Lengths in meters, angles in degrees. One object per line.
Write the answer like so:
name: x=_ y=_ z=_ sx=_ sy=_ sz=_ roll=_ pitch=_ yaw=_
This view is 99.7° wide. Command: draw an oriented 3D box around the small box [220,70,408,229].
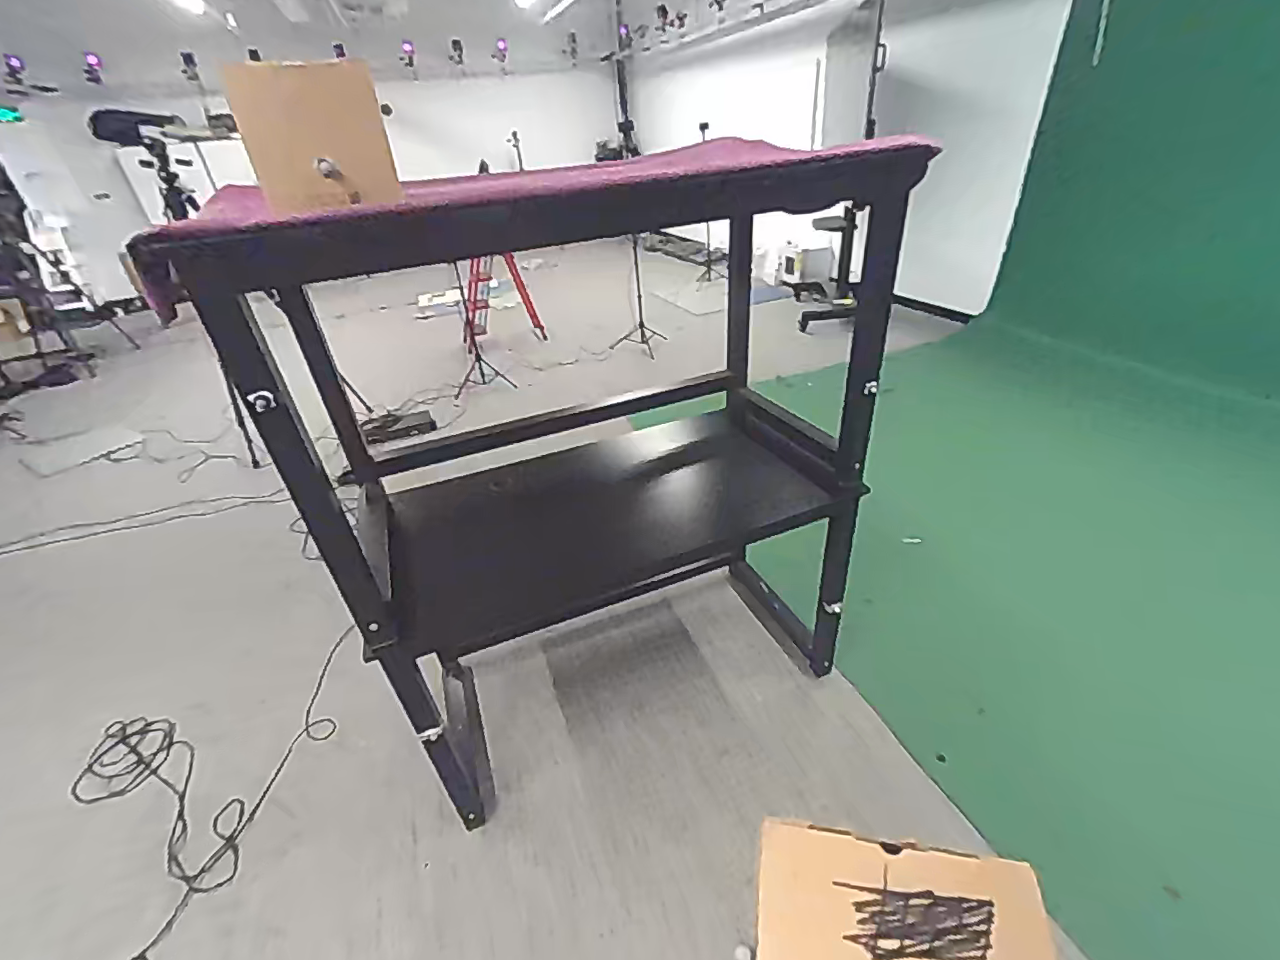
small box: x=-0.433 y=-0.452 z=0.751 sx=0.168 sy=0.176 sz=0.179 roll=-16 pitch=33 yaw=-16

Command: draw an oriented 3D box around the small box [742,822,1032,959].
small box: x=0.154 y=0.361 z=0.371 sx=0.168 sy=0.176 sz=0.179 roll=2 pitch=52 yaw=13
